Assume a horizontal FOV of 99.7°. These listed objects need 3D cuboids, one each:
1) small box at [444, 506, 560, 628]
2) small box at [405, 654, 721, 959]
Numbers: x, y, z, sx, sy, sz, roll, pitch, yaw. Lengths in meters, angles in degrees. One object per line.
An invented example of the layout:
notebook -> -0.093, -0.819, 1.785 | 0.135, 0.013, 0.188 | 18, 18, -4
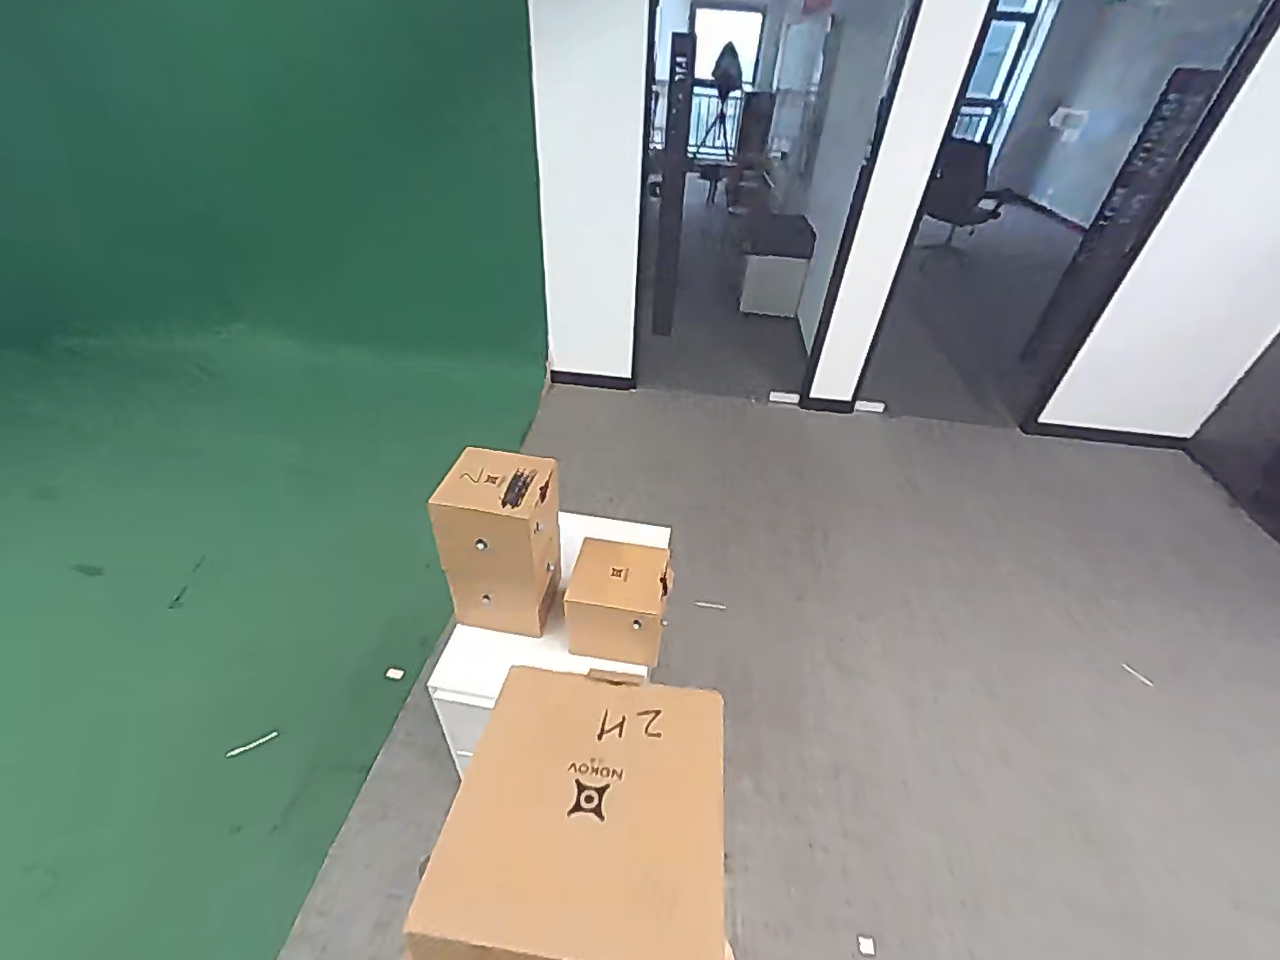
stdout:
small box -> -0.268, 0.178, 1.095 | 0.179, 0.176, 0.168 | 8, 40, 4
small box -> -0.036, 0.258, 0.385 | 0.168, 0.176, 0.179 | 7, 30, 5
